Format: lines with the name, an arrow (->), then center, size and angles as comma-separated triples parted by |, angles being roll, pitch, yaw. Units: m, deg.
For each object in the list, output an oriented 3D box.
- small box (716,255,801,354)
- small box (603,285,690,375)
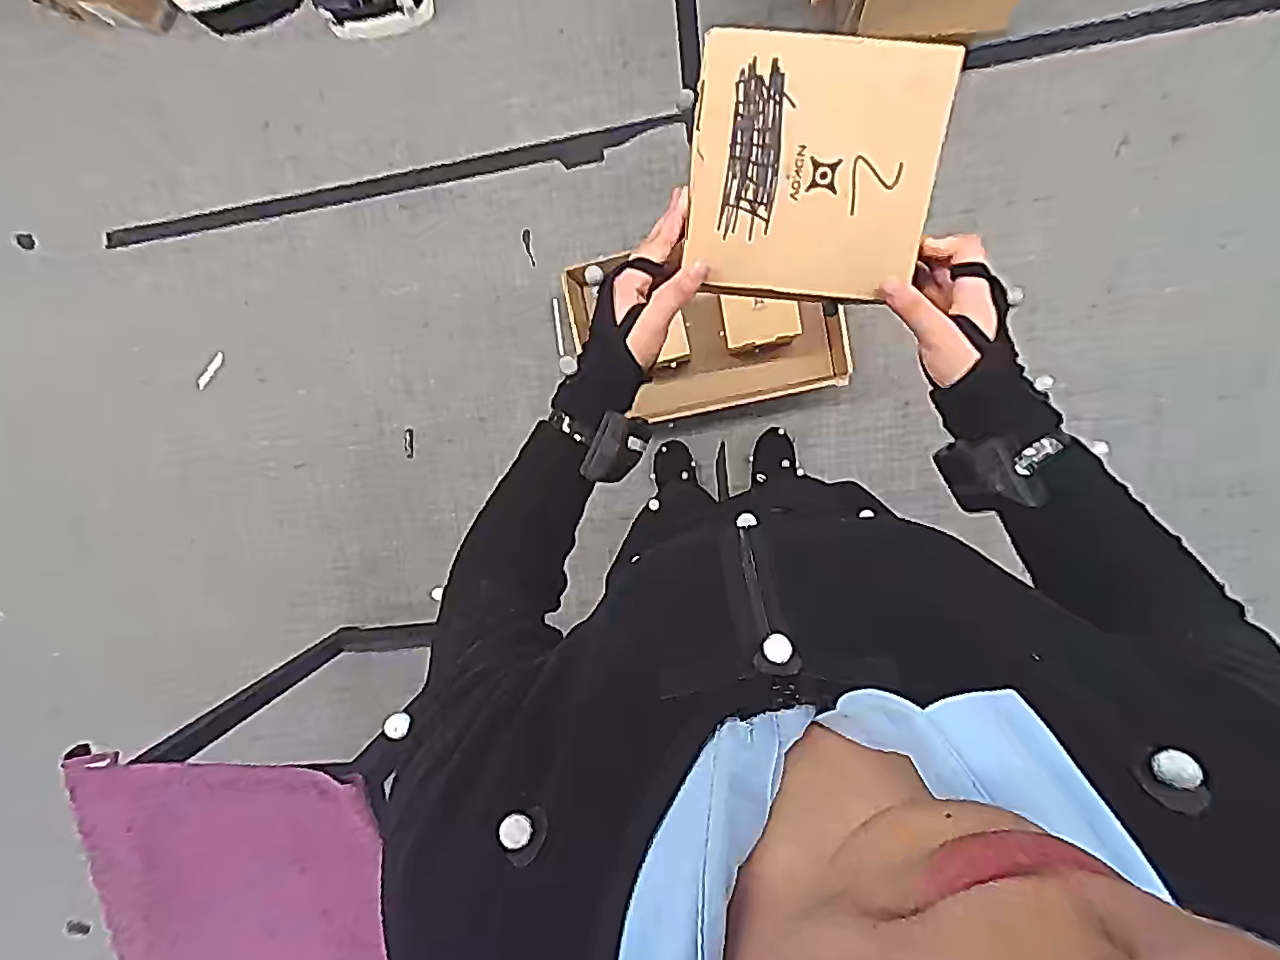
small box -> 0.275, -0.408, 1.285 | 0.168, 0.176, 0.179 | -10, 97, 9
small box -> 0.022, -0.360, 1.322 | 0.179, 0.176, 0.168 | -12, 96, 8
